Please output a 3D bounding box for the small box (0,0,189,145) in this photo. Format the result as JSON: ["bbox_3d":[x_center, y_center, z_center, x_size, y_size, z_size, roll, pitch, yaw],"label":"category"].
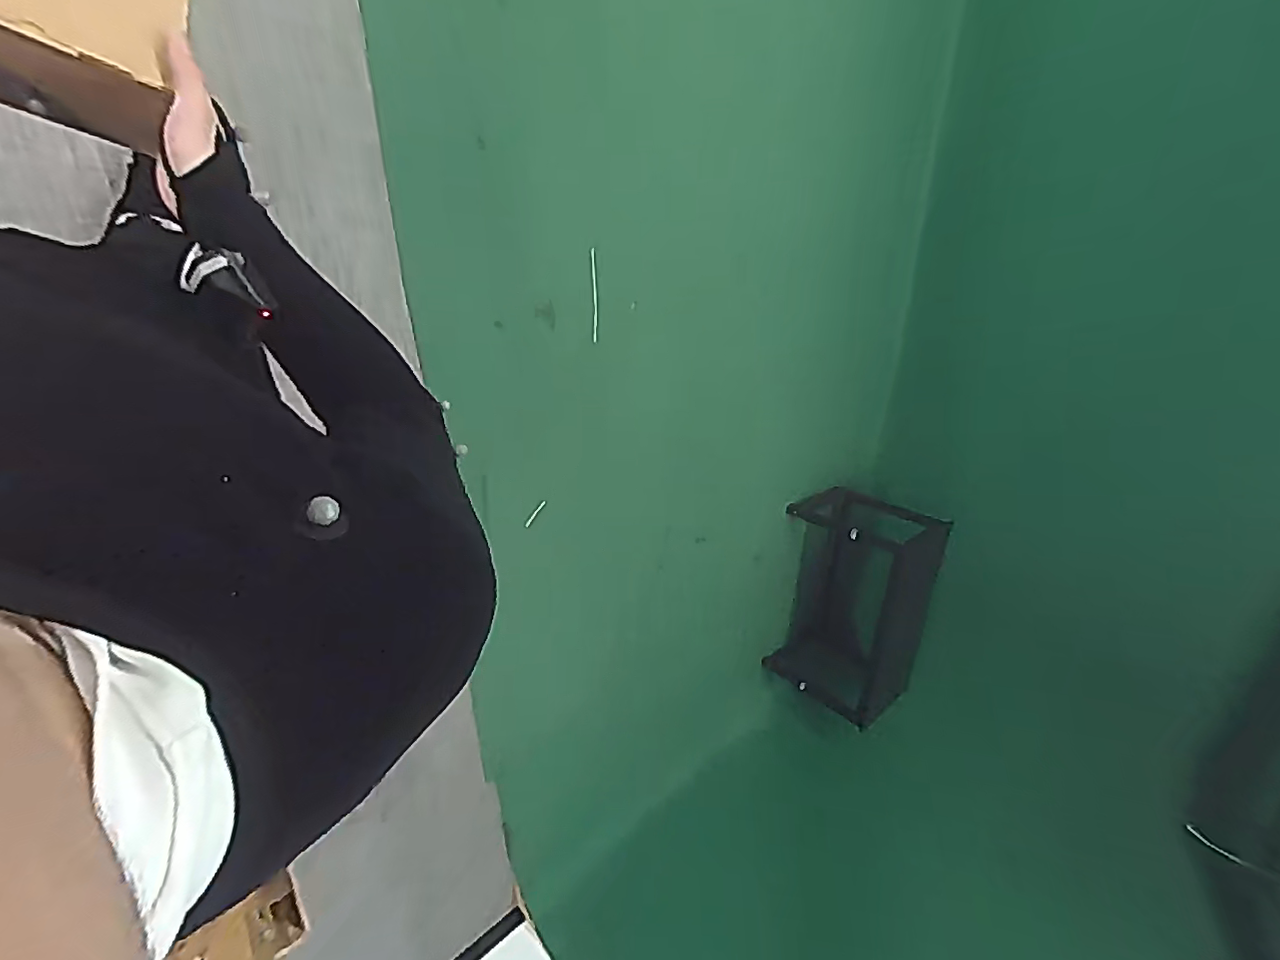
[{"bbox_3d":[-0.477,-0.412,0.430,0.168,0.176,0.179,3,96,-46],"label":"small box"}]

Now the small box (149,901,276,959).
[{"bbox_3d":[-0.826,0.980,1.054,0.168,0.176,0.179,-22,121,-35],"label":"small box"}]
